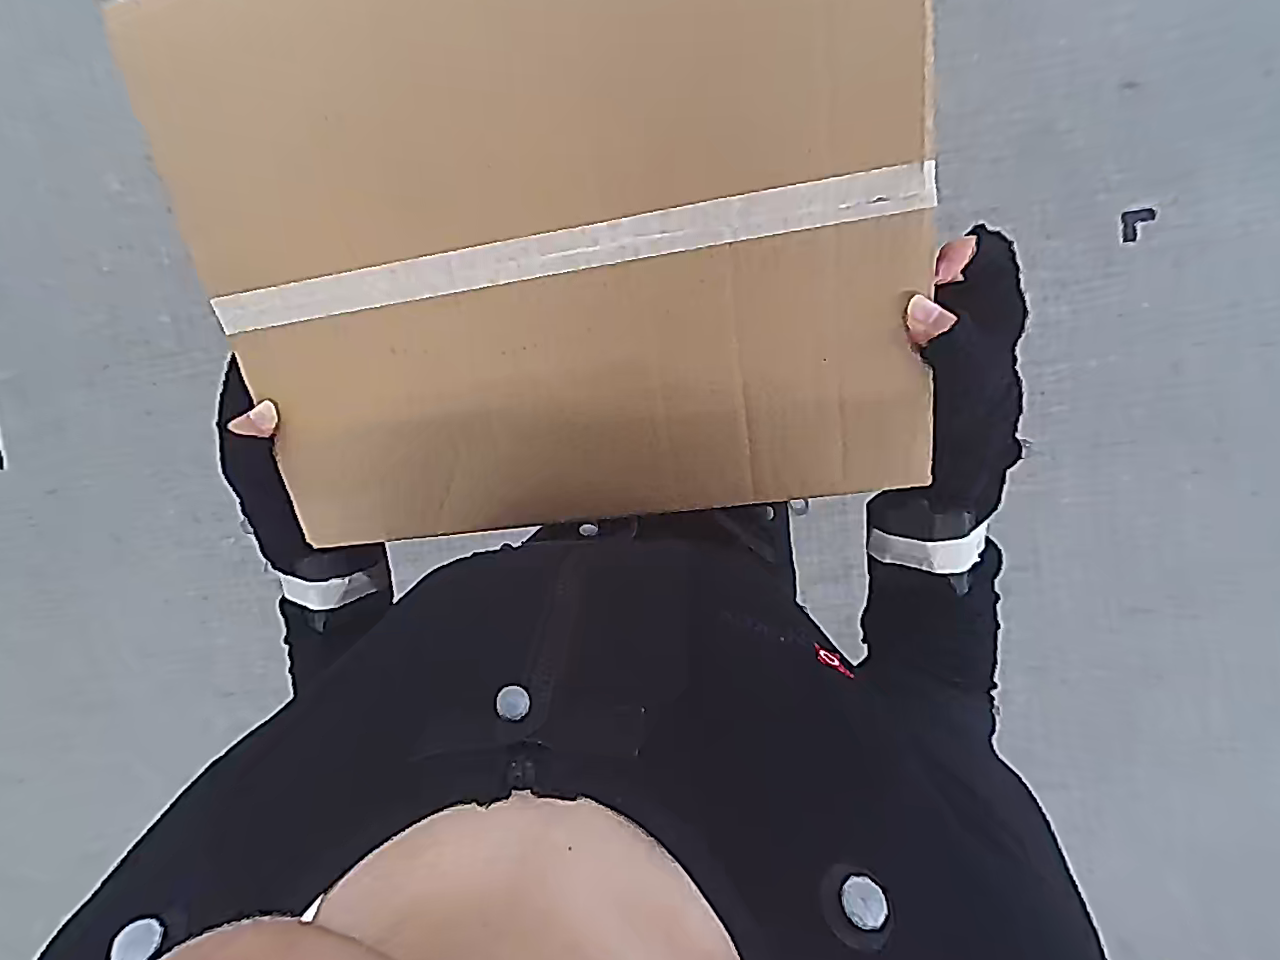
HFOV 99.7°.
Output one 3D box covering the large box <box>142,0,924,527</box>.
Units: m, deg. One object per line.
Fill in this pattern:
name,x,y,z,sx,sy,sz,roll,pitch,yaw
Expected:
large box,-0.037,-0.182,0.444,0.408,0.320,0.320,-7,109,9
